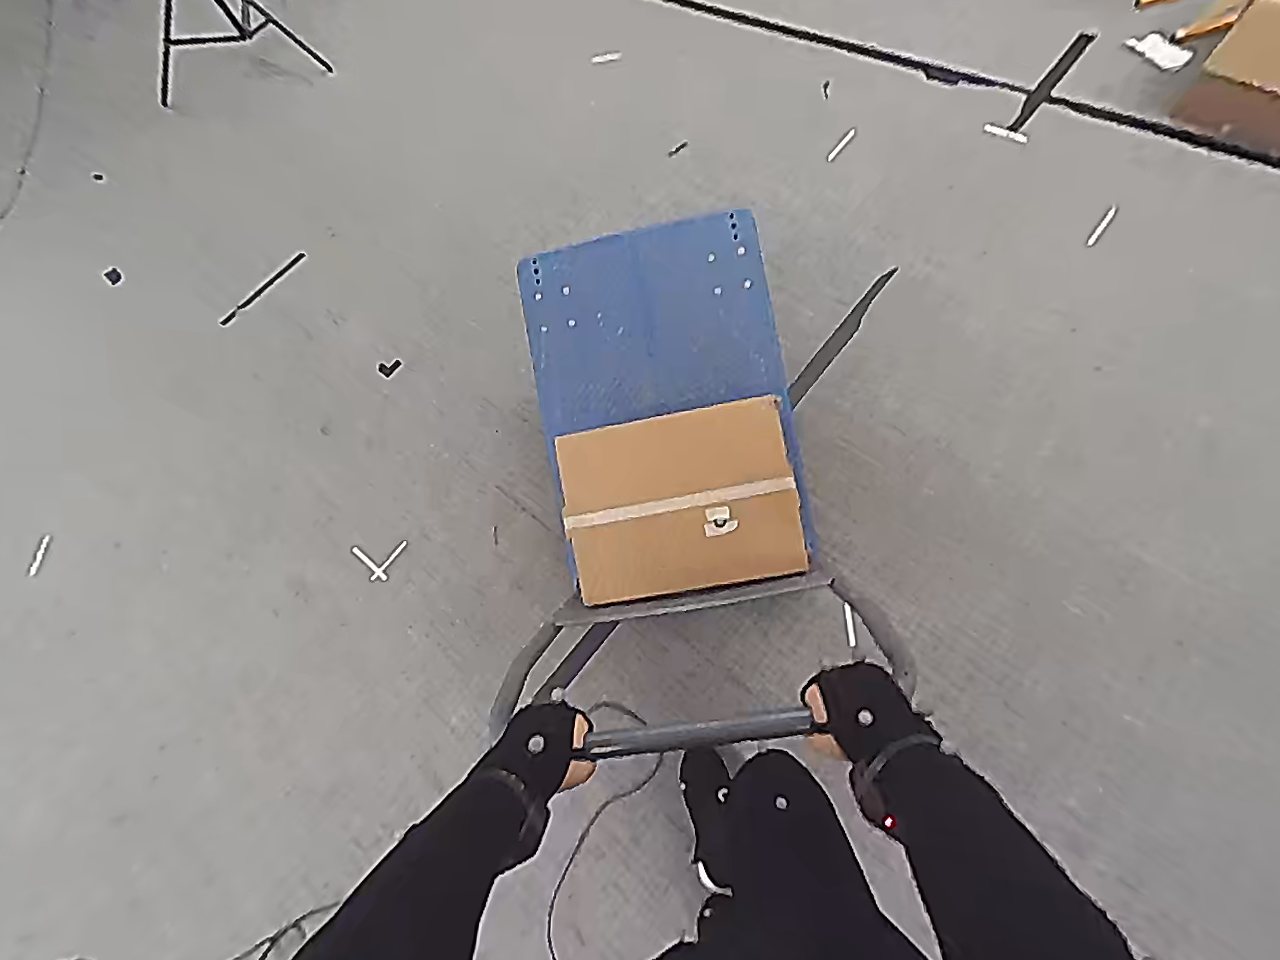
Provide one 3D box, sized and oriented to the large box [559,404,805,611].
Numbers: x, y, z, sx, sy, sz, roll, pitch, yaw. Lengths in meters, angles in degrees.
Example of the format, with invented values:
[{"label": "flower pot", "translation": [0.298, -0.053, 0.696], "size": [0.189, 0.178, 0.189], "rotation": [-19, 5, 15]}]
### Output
[{"label": "large box", "translation": [0.083, 0.058, 1.124], "size": [0.408, 0.320, 0.320], "rotation": [-11, 88, 5]}]
